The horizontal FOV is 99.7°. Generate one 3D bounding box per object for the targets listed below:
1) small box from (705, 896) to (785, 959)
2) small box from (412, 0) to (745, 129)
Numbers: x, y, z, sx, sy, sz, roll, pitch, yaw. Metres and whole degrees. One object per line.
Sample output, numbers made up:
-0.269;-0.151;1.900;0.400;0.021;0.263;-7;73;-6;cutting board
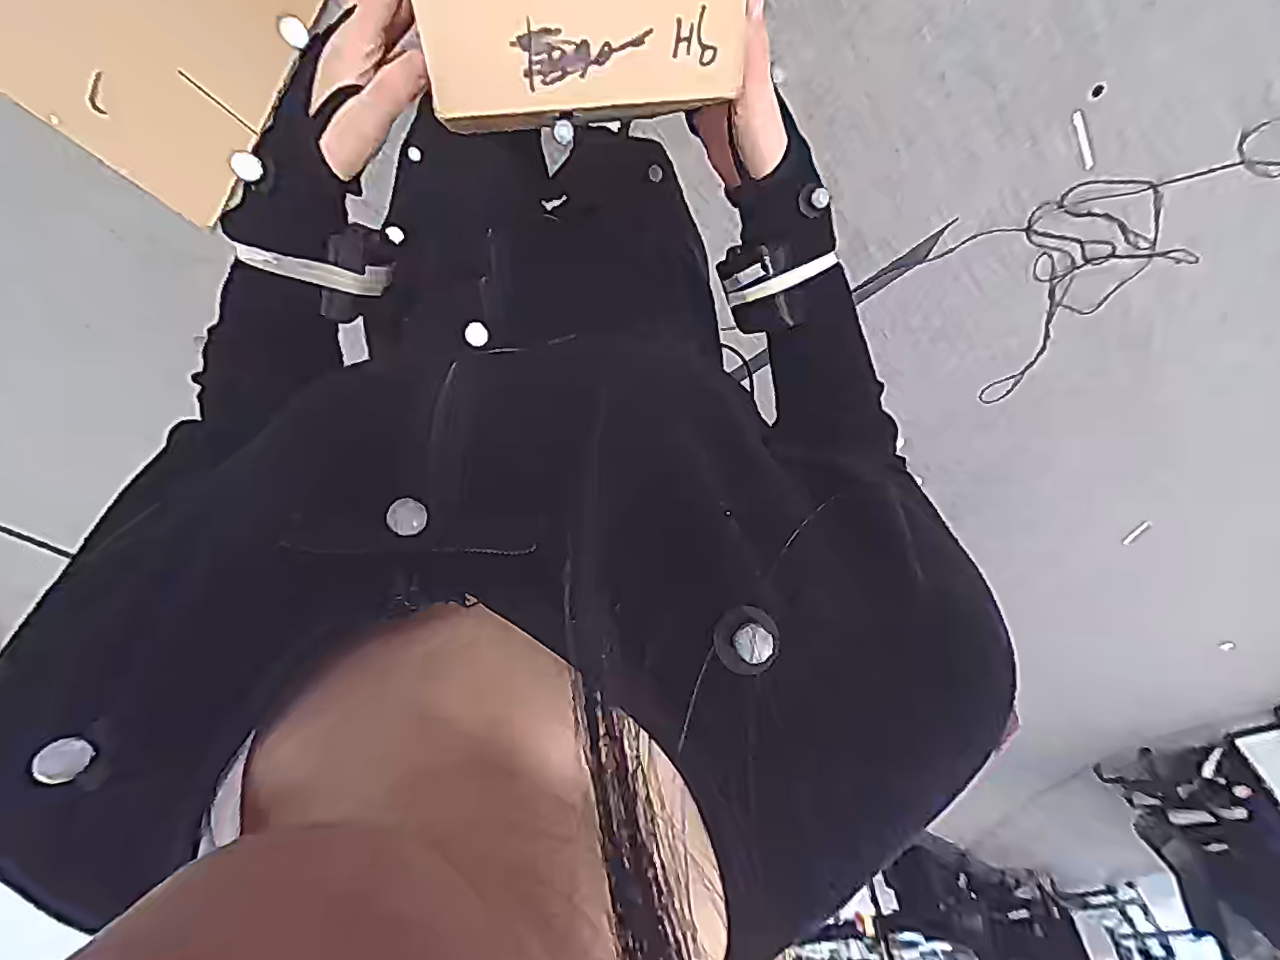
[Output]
0.296;1.303;1.527;0.179;0.176;0.168;-32;126;26;small box
-0.049;-0.312;0.304;0.168;0.176;0.179;-11;121;-9;small box
